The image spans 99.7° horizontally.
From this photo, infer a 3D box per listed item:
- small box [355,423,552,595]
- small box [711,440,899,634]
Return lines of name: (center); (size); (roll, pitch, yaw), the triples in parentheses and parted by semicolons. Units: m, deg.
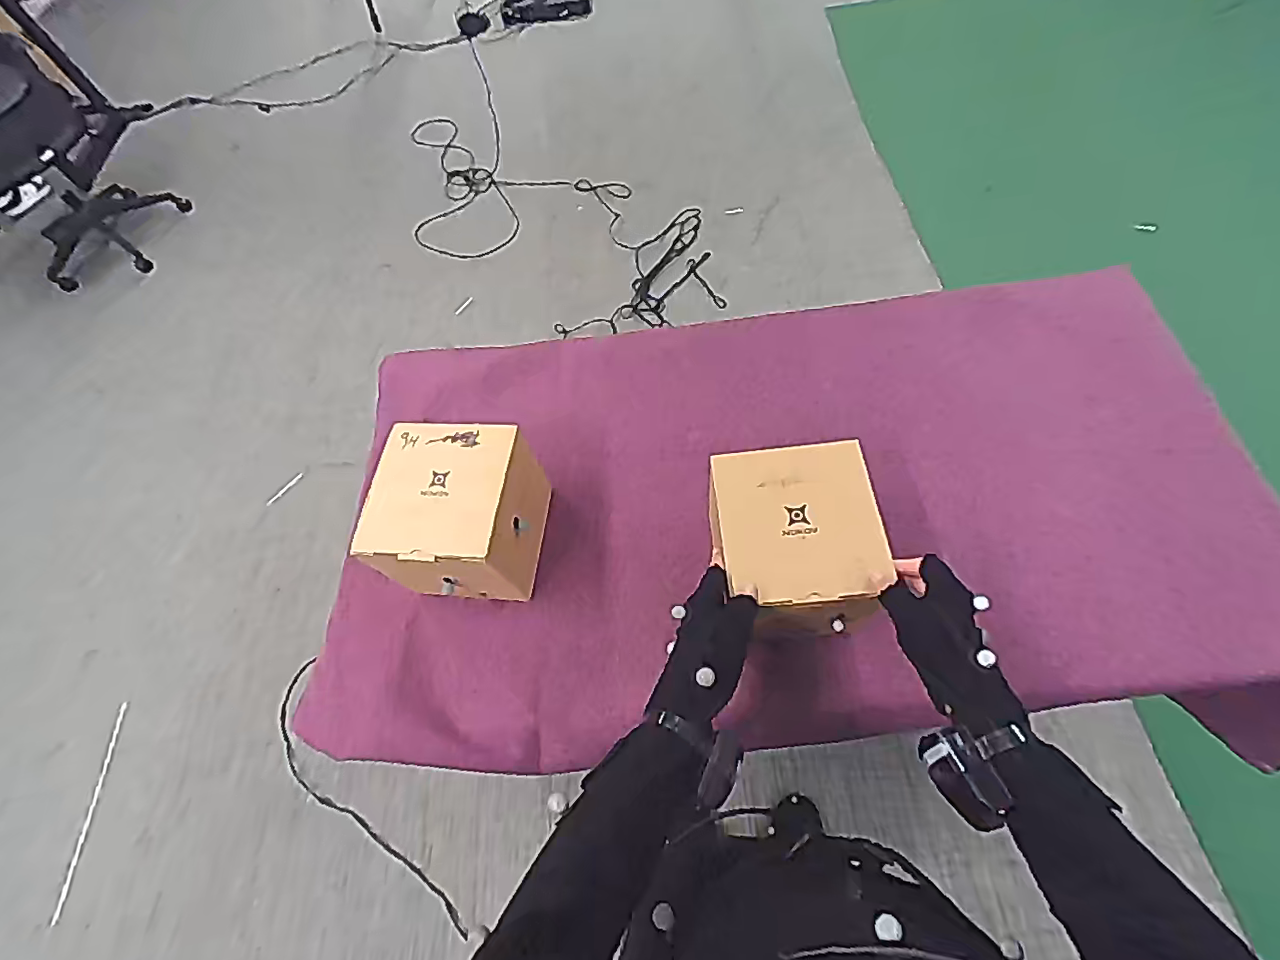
small box: (-0.224, 0.044, 0.703); (0.168, 0.176, 0.179); (2, 64, 9)
small box: (0.175, 0.077, 0.631); (0.168, 0.176, 0.179); (-6, 62, 4)
